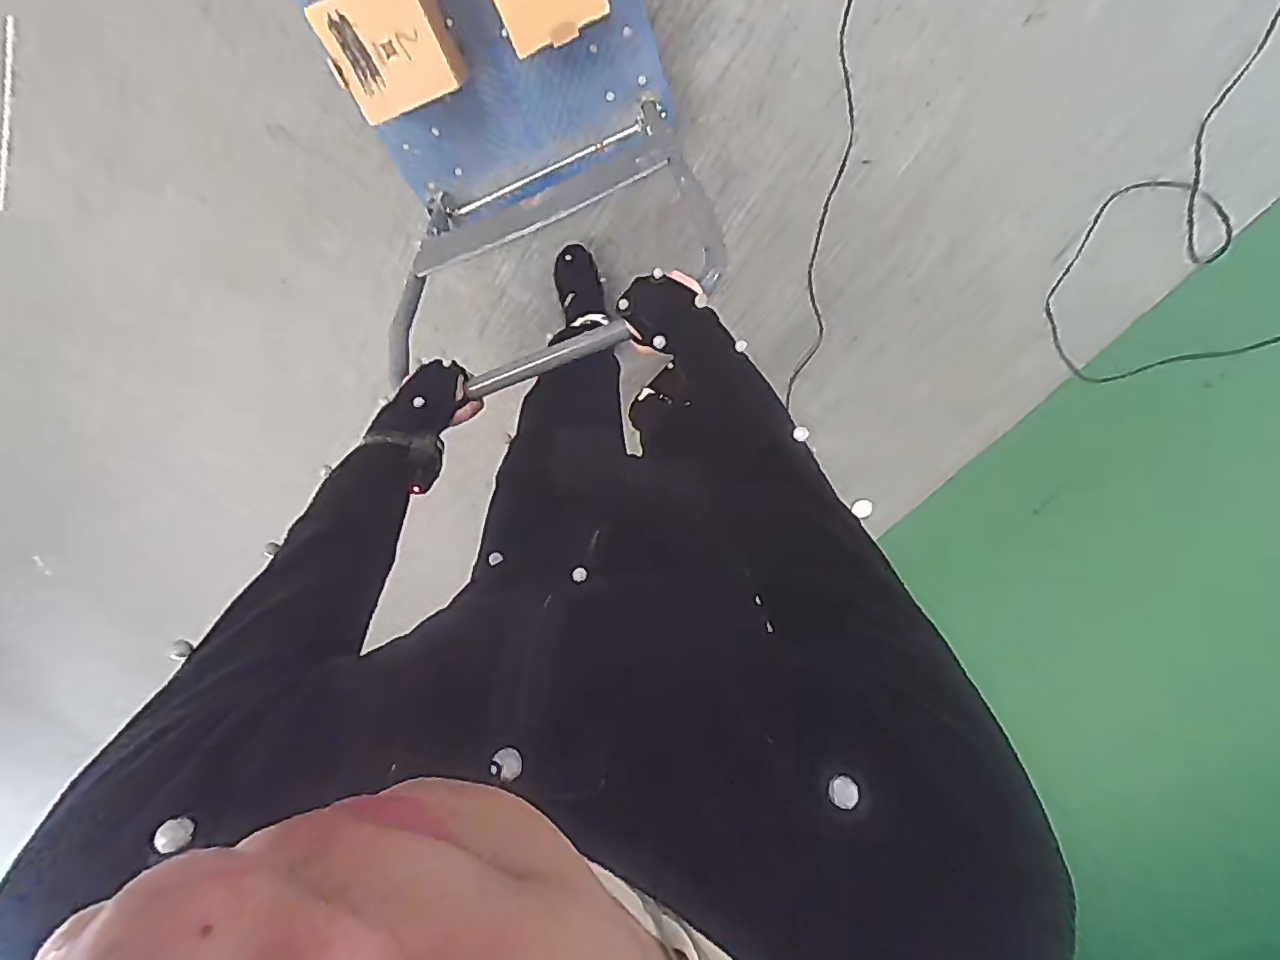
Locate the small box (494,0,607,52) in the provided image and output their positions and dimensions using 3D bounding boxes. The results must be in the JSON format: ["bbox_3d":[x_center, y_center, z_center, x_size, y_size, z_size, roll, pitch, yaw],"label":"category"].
[{"bbox_3d":[-0.166,-0.836,0.869,0.168,0.176,0.179,-20,134,12],"label":"small box"}]
